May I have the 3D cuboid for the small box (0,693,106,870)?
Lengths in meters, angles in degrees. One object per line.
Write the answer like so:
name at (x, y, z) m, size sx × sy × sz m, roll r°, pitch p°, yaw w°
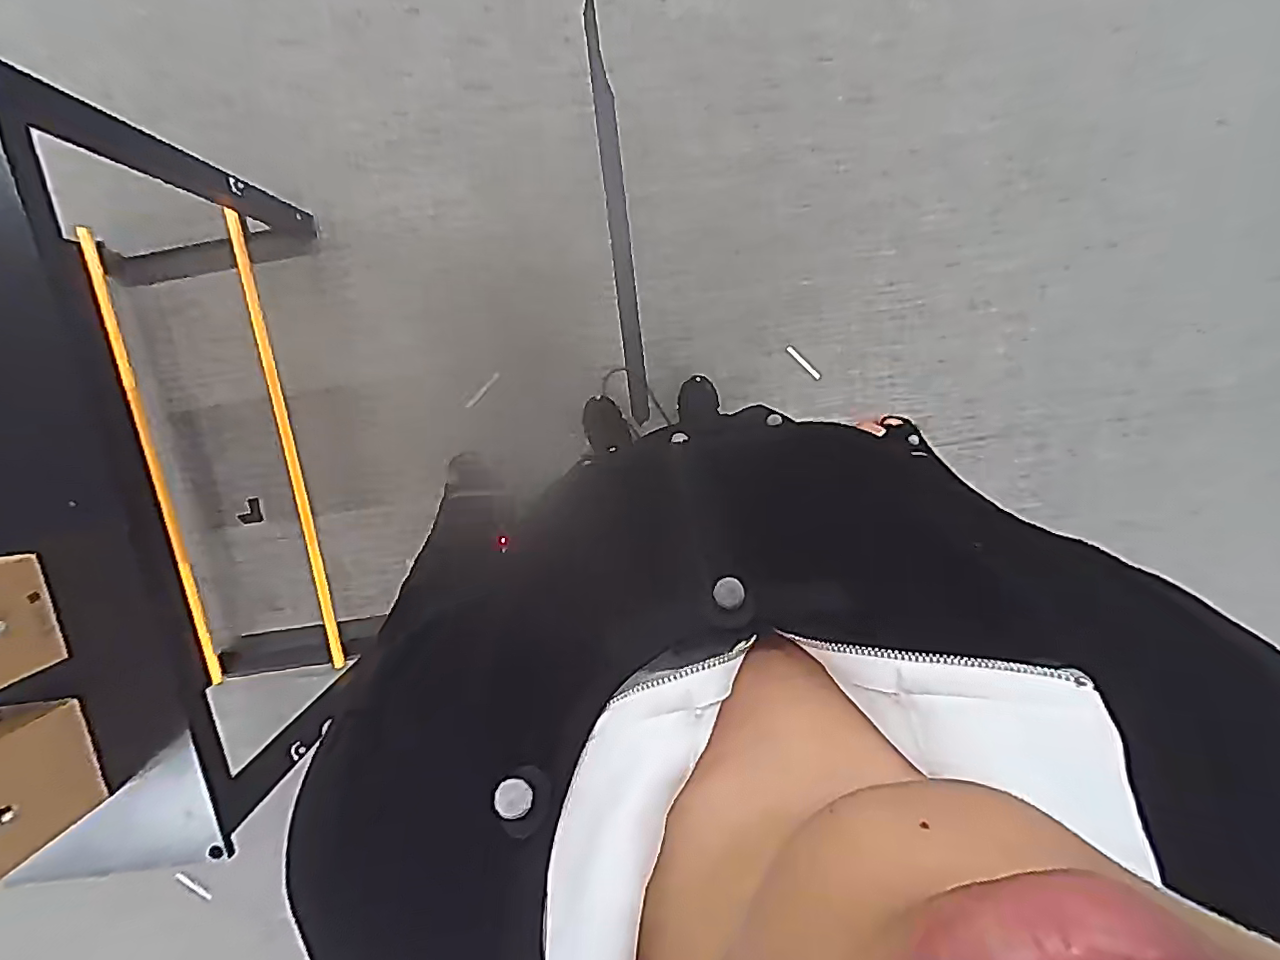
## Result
small box at (-0.924, 0.431, 0.763) m, size 0.168 × 0.176 × 0.179 m, roll -8°, pitch 99°, yaw 2°

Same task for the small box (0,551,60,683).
small box at (-0.950, 0.202, 0.725) m, size 0.179 × 0.176 × 0.168 m, roll -7°, pitch 100°, yaw 1°
